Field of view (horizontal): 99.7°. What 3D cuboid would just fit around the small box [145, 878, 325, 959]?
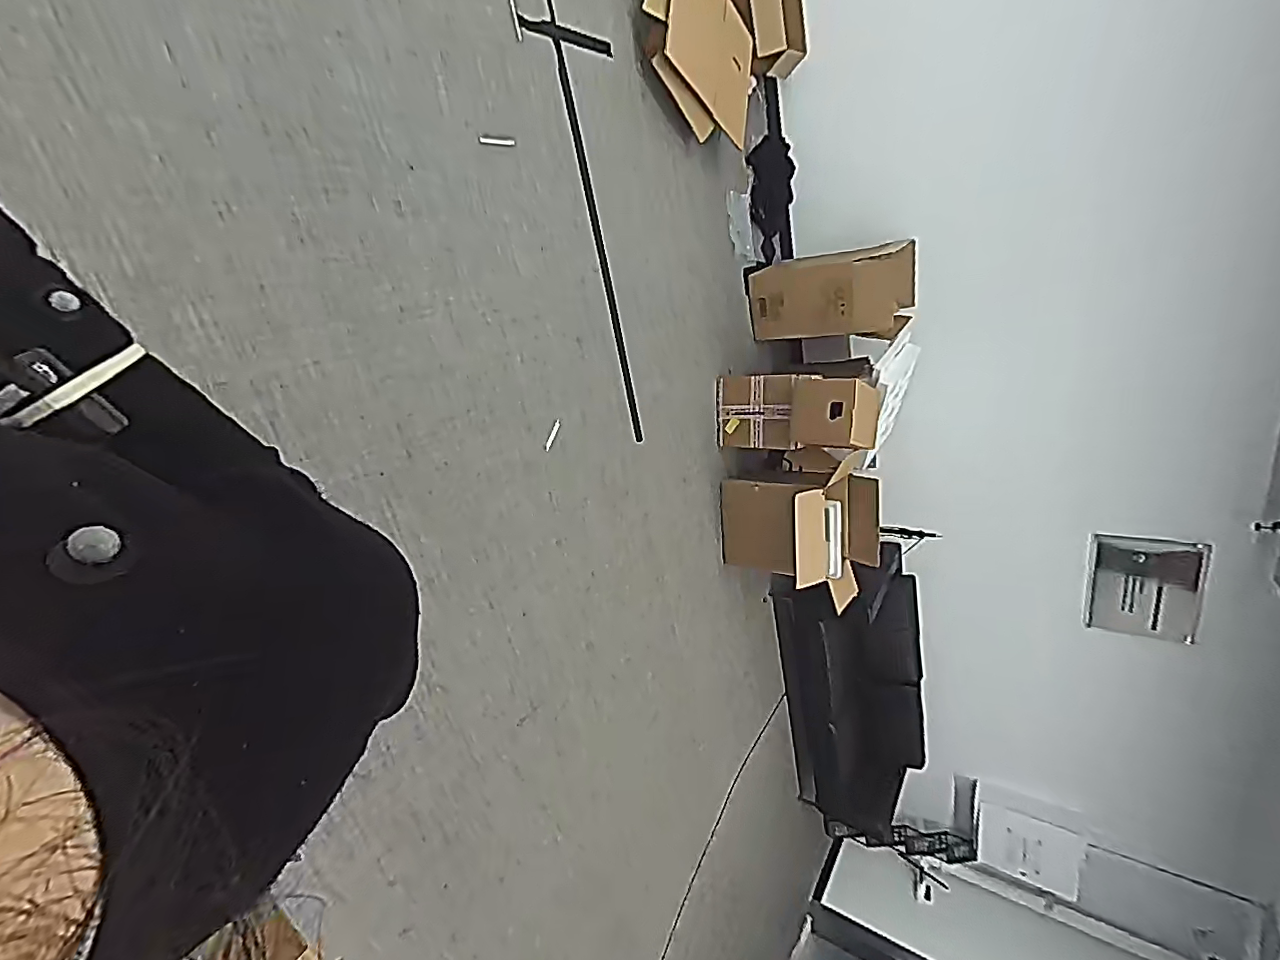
[{"bbox_3d":[-0.435,0.587,0.584,0.168,0.176,0.179,-37,120,-46],"label":"small box"}]

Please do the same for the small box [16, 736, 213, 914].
[{"bbox_3d":[-0.834,0.552,0.869,0.179,0.176,0.168,-35,119,-45],"label":"small box"}]

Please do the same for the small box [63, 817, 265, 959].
[{"bbox_3d":[-0.567,0.576,0.682,0.168,0.176,0.179,-35,119,-46],"label":"small box"}]
